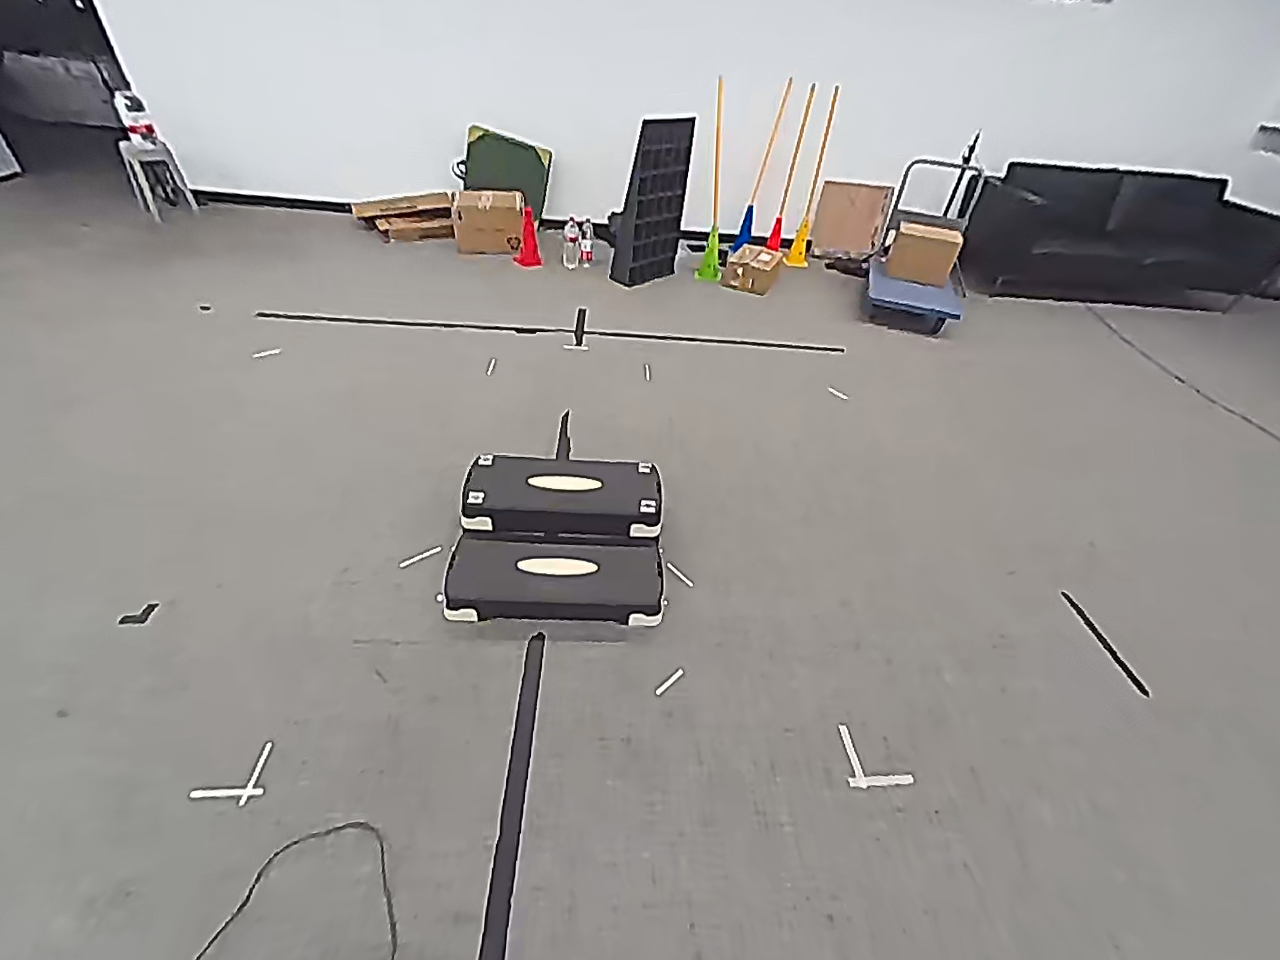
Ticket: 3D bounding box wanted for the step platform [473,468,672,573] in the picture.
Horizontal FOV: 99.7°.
[{"bbox_3d":[-0.229,0.136,1.907,0.684,0.204,0.286,6,39,-1],"label":"step platform"}]
